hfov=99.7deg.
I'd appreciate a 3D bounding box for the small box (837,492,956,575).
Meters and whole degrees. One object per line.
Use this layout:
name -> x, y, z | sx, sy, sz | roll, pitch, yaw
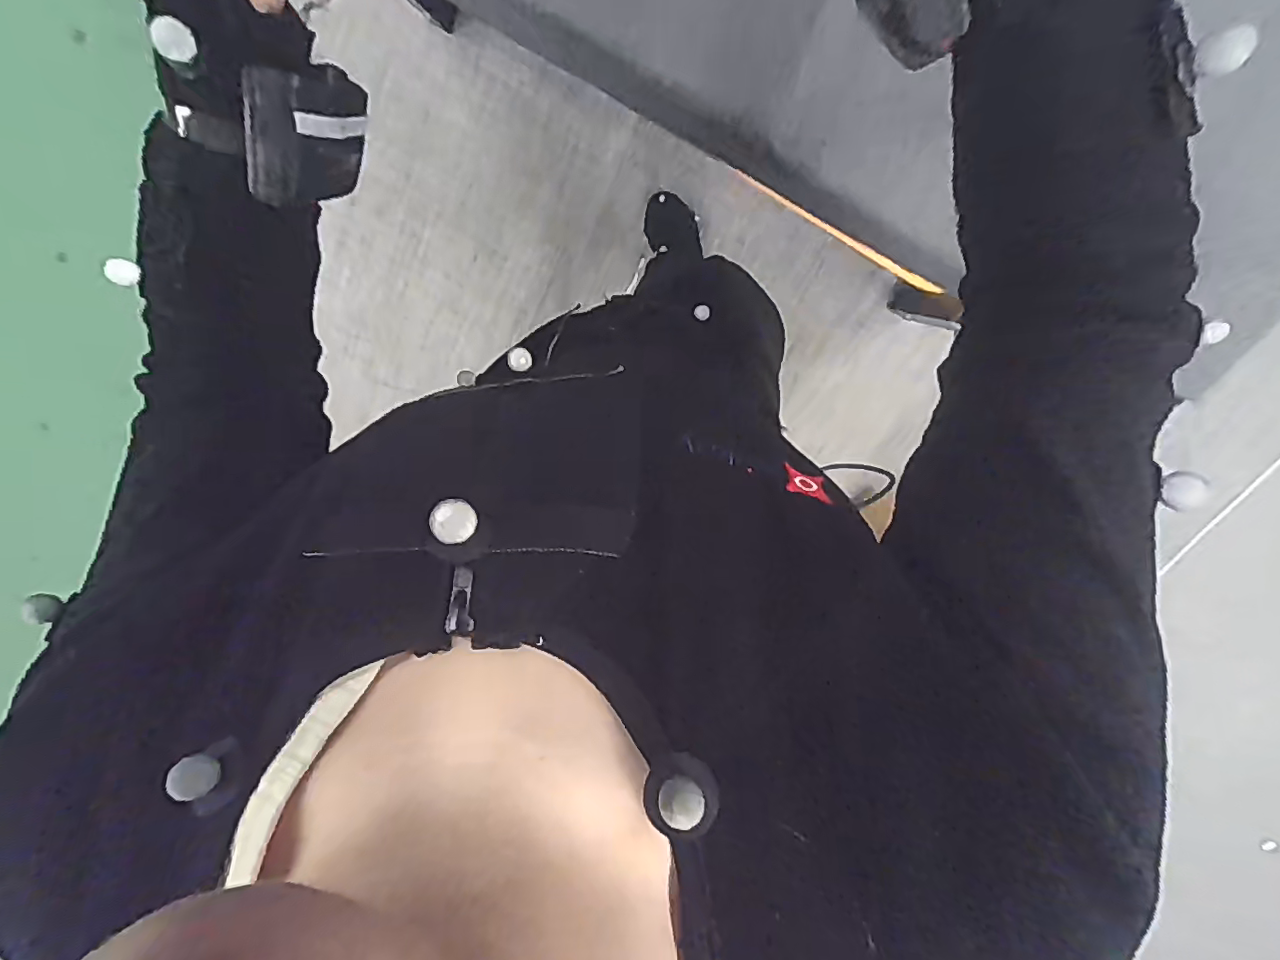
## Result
small box -> 0.616, 0.150, 1.321 | 0.179, 0.176, 0.168 | 22, 110, -4
